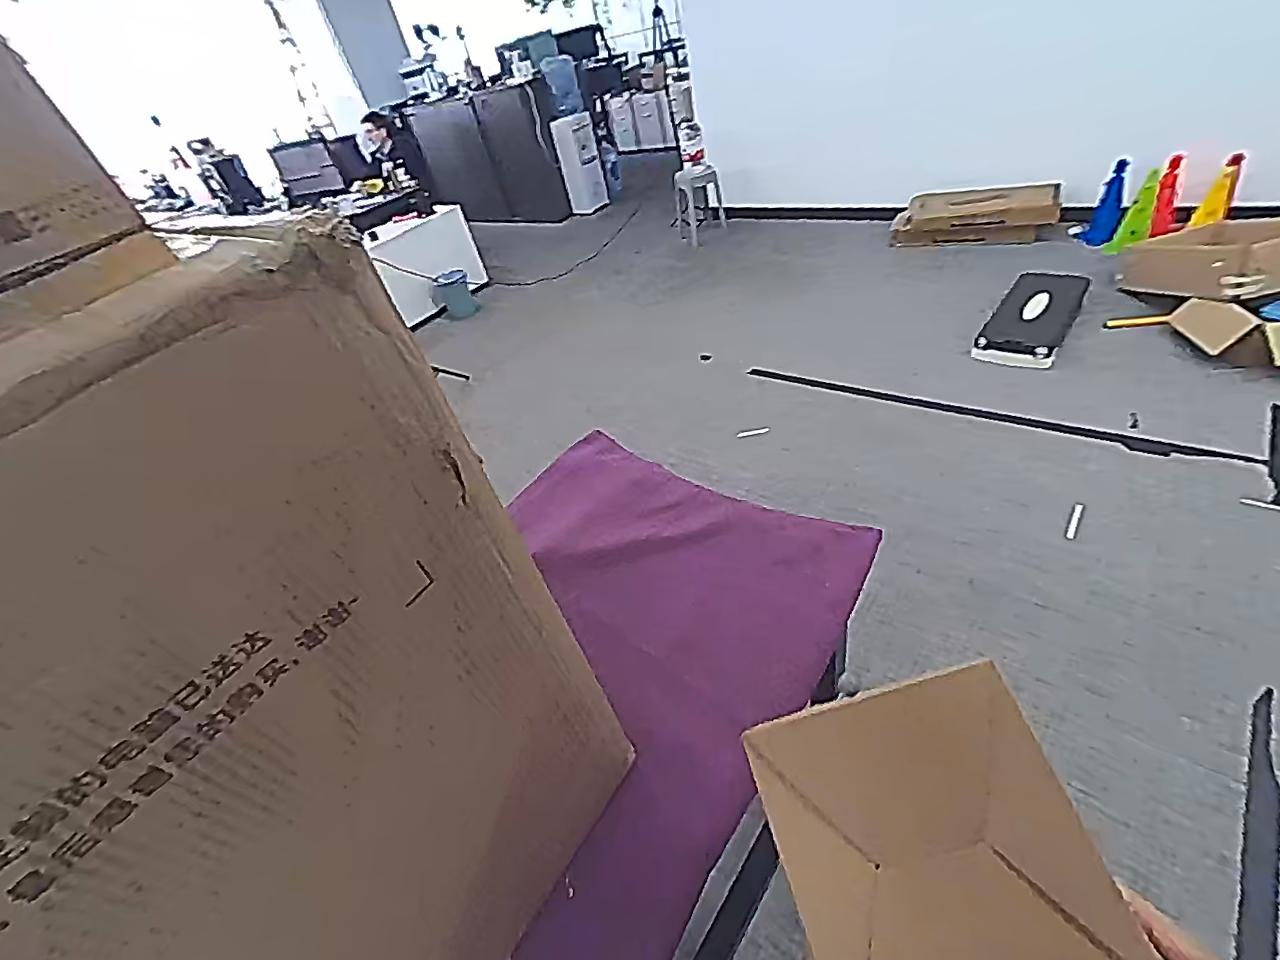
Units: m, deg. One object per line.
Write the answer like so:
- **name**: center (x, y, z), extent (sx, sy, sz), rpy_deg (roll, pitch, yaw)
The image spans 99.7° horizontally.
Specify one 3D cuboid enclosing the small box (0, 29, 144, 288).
- **small box**: center (-0.444, -0.195, 0.303), extent (0.179, 0.176, 0.168), rpy_deg (20, 53, 34)
